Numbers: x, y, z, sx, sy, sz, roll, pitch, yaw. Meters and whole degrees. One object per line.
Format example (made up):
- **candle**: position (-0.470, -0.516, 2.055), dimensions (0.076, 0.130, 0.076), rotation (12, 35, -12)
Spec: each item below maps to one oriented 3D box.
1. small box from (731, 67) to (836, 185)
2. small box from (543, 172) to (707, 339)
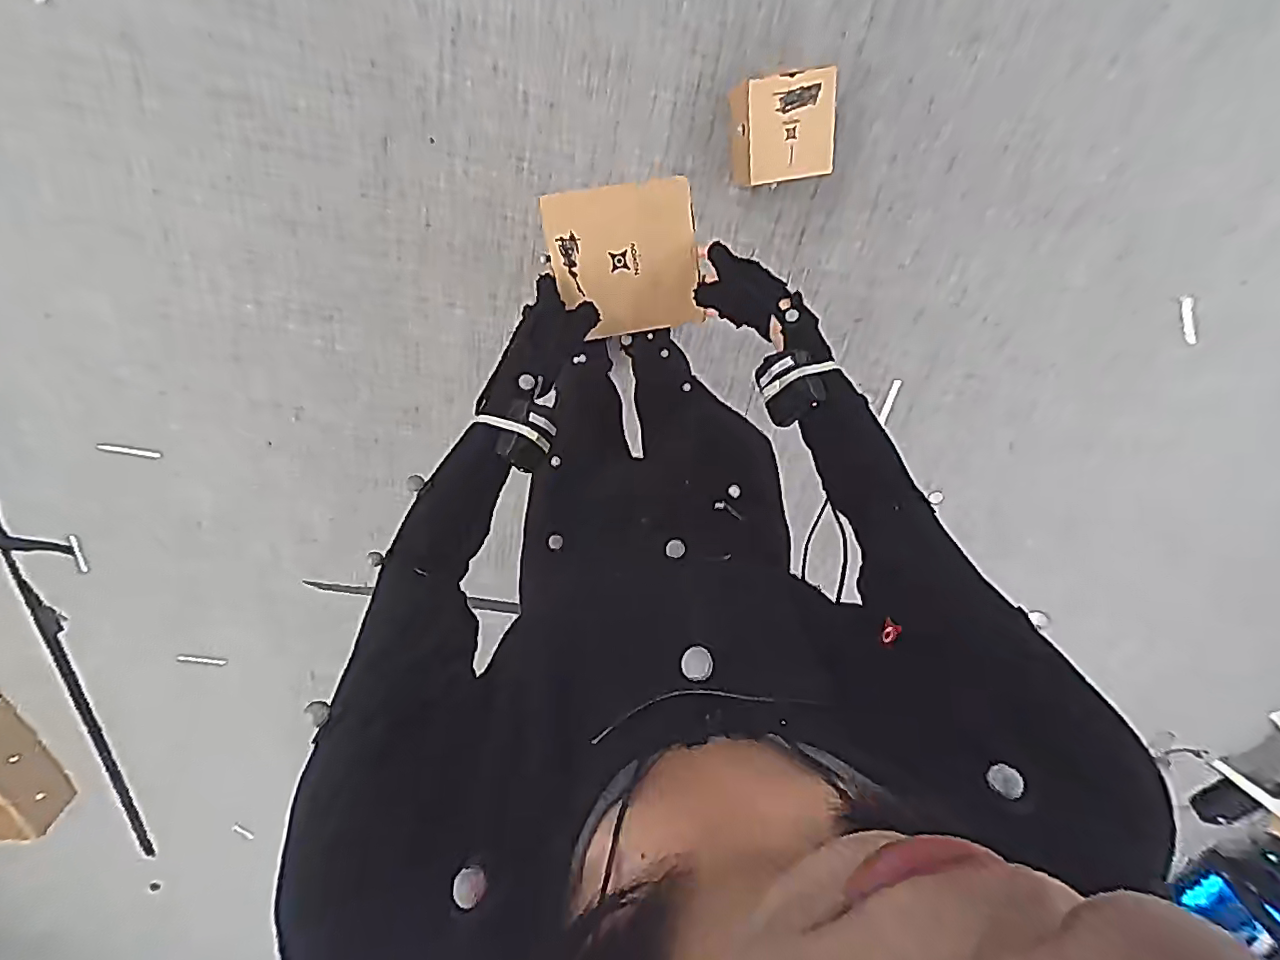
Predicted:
- **small box**: position (0.284, -0.707, 1.096), dimensions (0.168, 0.176, 0.179), rotation (-8, 120, 2)
- **small box**: position (-0.026, -0.281, 0.705), dimensions (0.179, 0.176, 0.168), rotation (-11, 106, -7)
